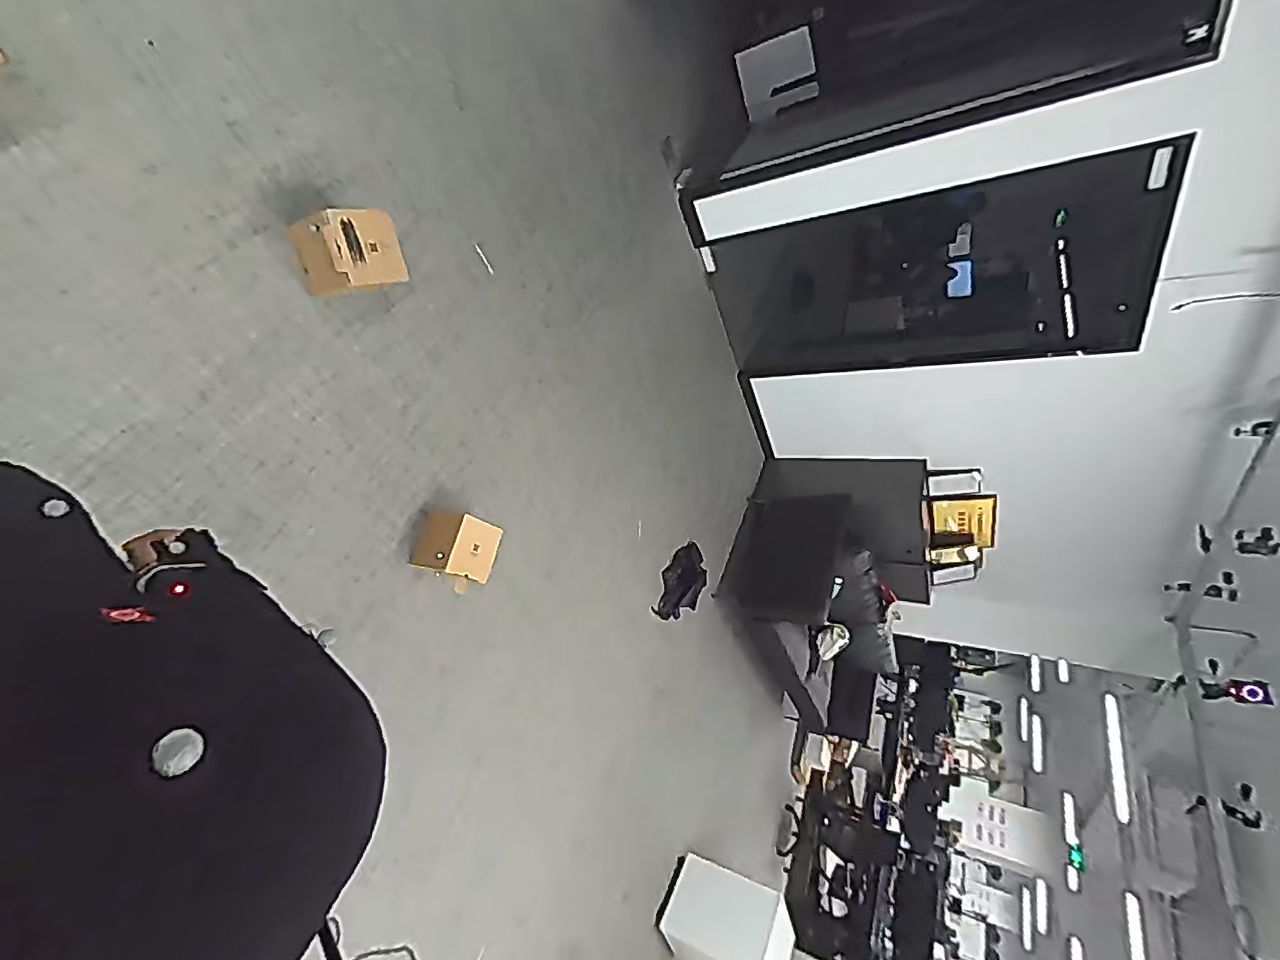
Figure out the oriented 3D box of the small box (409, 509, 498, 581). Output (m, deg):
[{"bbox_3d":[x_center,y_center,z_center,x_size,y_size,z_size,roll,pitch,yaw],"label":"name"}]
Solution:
[{"bbox_3d":[-0.570,0.195,1.649,0.168,0.176,0.179,38,61,-53],"label":"small box"}]
